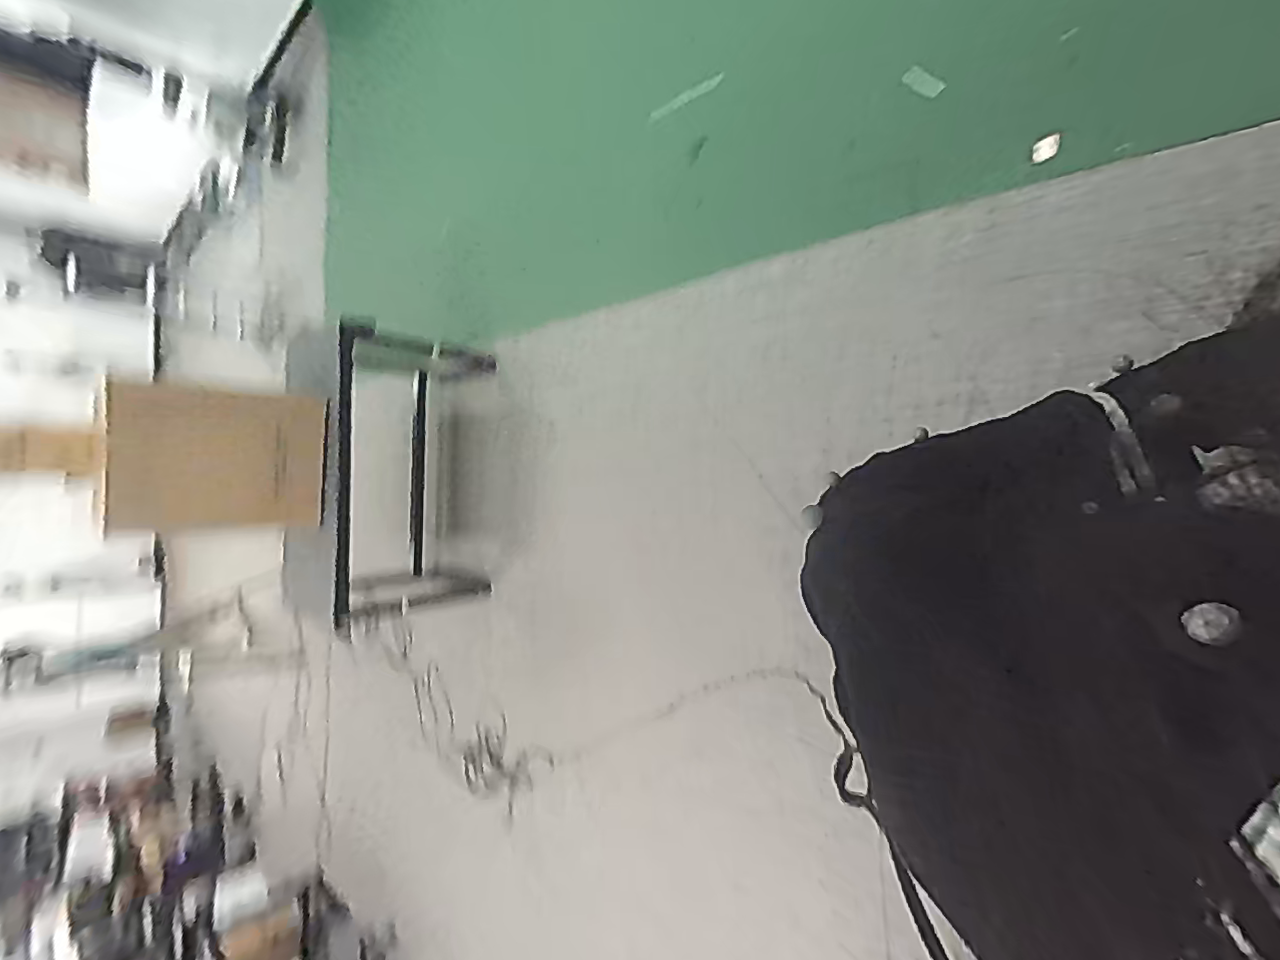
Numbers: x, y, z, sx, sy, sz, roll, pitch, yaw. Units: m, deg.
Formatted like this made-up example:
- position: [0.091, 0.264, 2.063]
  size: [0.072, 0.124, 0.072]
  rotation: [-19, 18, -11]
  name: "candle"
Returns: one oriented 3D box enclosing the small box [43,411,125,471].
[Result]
- position: [-1.753, -0.123, 1.707]
  size: [0.179, 0.176, 0.168]
  rotation: [13, 99, 39]
  name: "small box"
